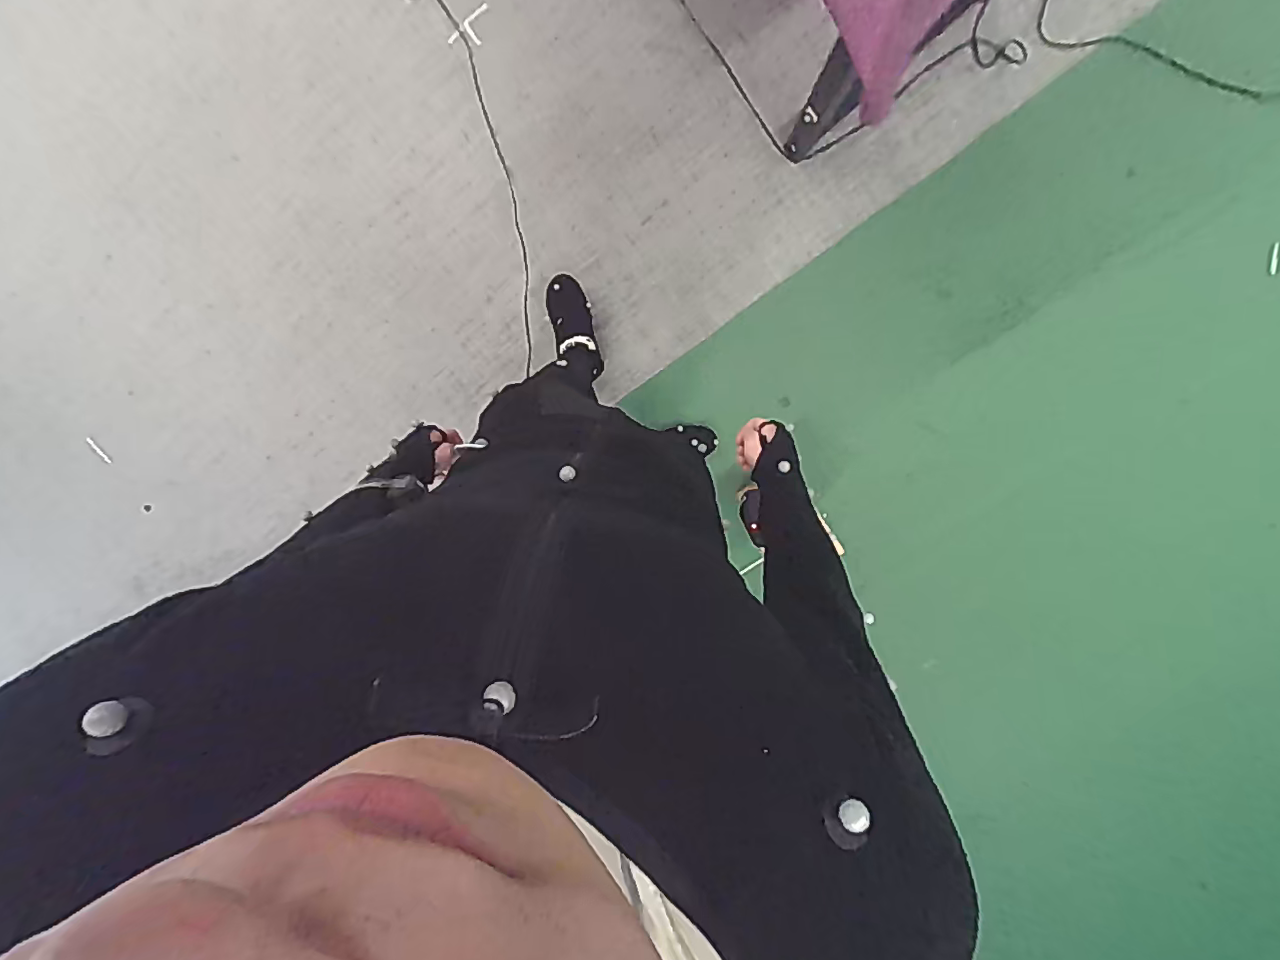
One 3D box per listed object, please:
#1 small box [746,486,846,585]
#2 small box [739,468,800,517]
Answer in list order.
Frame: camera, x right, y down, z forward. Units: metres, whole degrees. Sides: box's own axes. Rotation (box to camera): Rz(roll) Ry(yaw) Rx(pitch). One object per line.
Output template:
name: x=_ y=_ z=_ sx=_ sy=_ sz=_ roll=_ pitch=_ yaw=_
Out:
small box: x=0.392 y=0.132 z=1.393 sx=0.168 sy=0.176 sz=0.179 roll=-34 pitch=101 yaw=12
small box: x=0.404 y=0.090 z=1.550 sx=0.168 sy=0.176 sz=0.179 roll=-35 pitch=100 yaw=12
